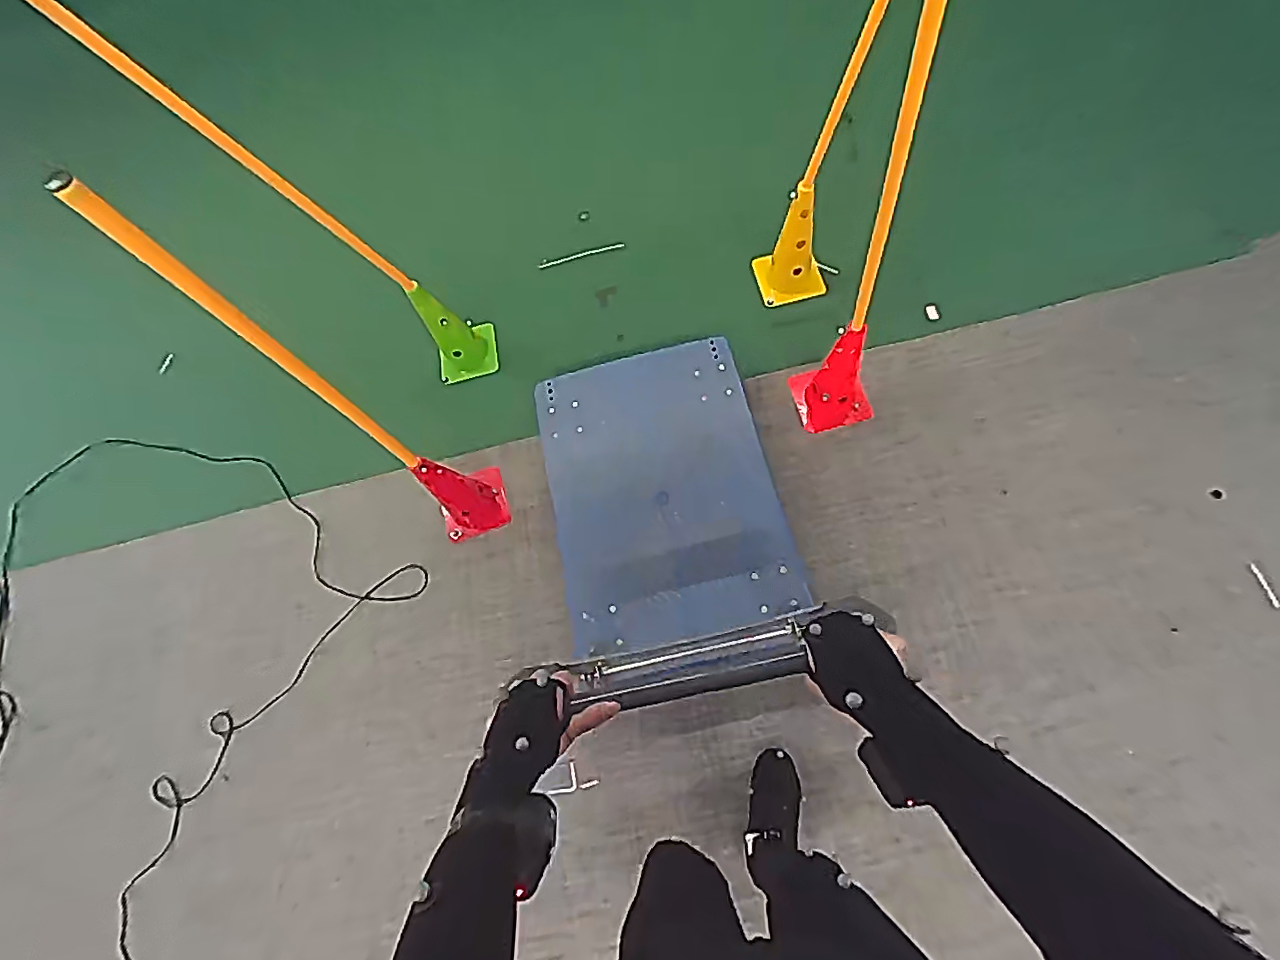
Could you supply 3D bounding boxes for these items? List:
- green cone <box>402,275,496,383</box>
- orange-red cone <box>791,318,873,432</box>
[{"bbox_3d":[-0.612,-0.490,1.670,0.200,0.368,0.202,-14,68,4],"label":"green cone"},{"bbox_3d":[0.538,-0.304,1.432,0.198,0.360,0.199,-13,67,3],"label":"orange-red cone"}]
